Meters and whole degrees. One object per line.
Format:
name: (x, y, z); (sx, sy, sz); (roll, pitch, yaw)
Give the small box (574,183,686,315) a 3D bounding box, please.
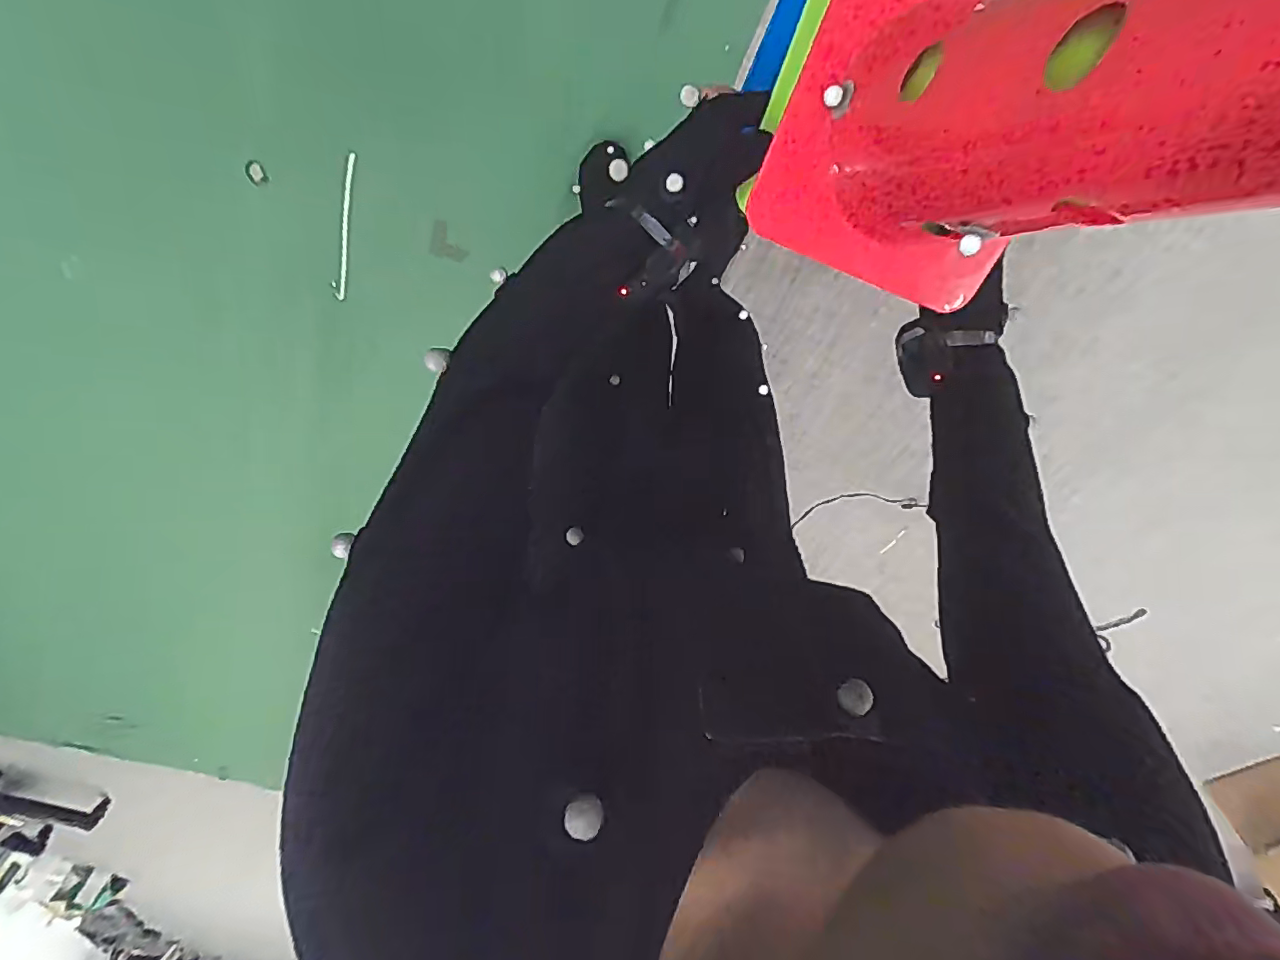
small box: (-0.030, -0.470, 1.105); (0.168, 0.176, 0.179); (4, 133, -24)
